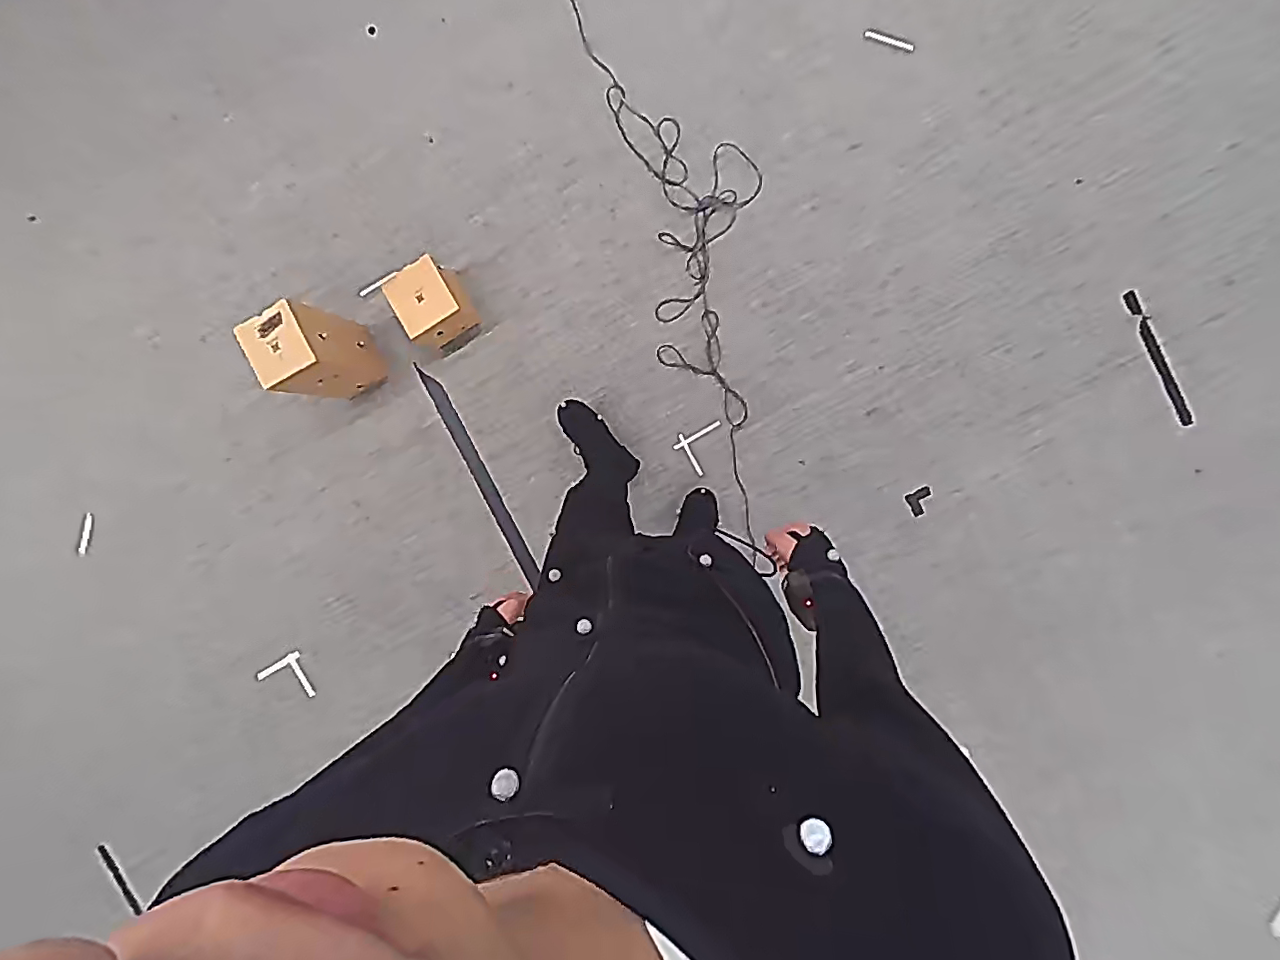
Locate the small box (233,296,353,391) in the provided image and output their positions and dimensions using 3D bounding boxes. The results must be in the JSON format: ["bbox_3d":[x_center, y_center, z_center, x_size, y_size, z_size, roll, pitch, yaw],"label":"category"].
[{"bbox_3d":[-0.906,-0.351,1.426,0.168,0.176,0.179,-26,92,7],"label":"small box"}]

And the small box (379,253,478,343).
[{"bbox_3d":[-0.598,-0.511,1.556,0.168,0.176,0.179,-30,91,6],"label":"small box"}]
